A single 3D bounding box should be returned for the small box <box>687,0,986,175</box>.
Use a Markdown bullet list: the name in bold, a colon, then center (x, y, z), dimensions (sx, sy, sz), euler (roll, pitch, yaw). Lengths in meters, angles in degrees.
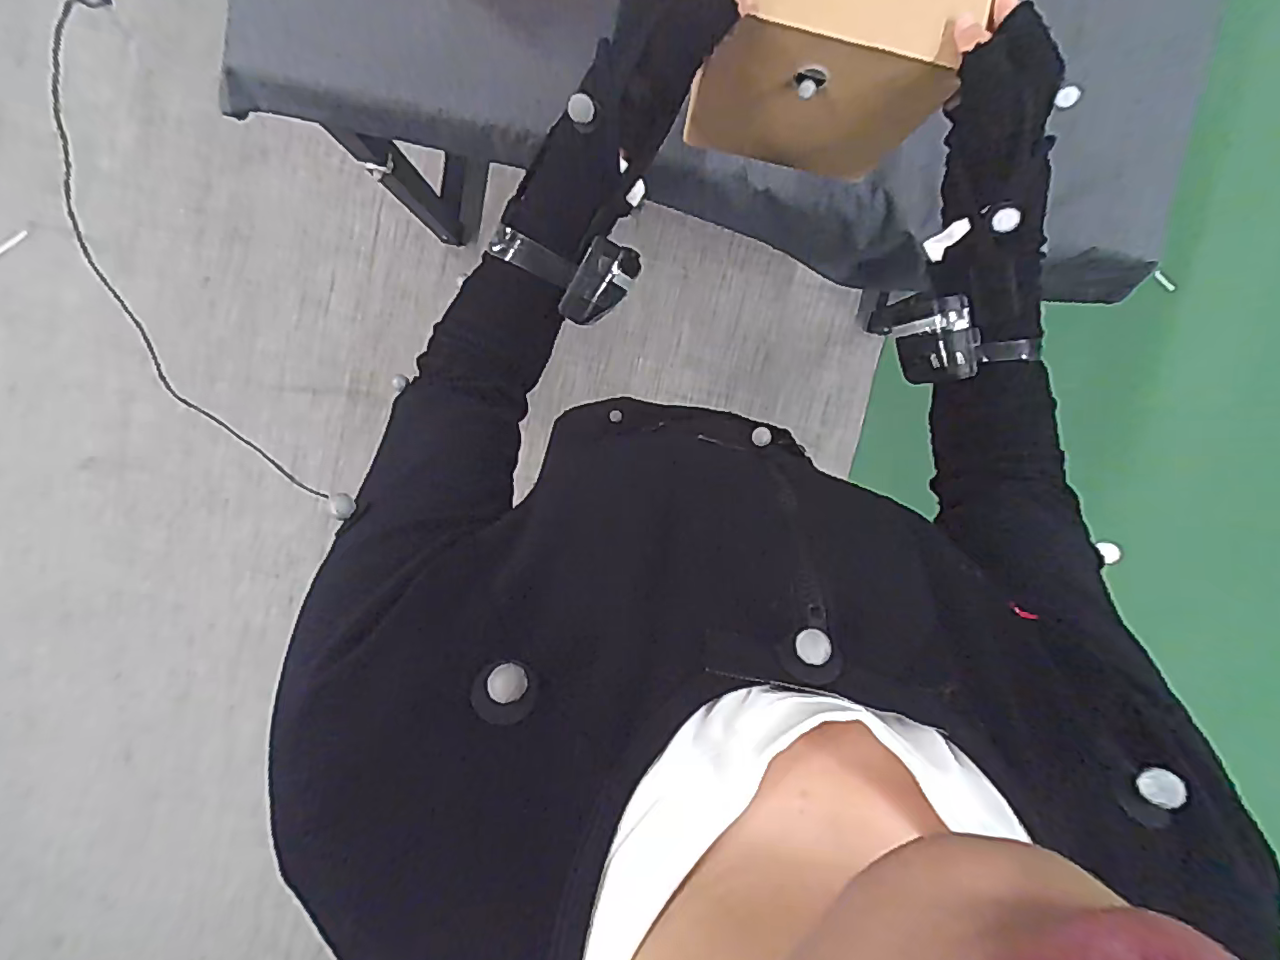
- **small box**: center (0.144, -0.372, 0.426), dimensions (0.179, 0.176, 0.168), euler (10, 96, -6)
